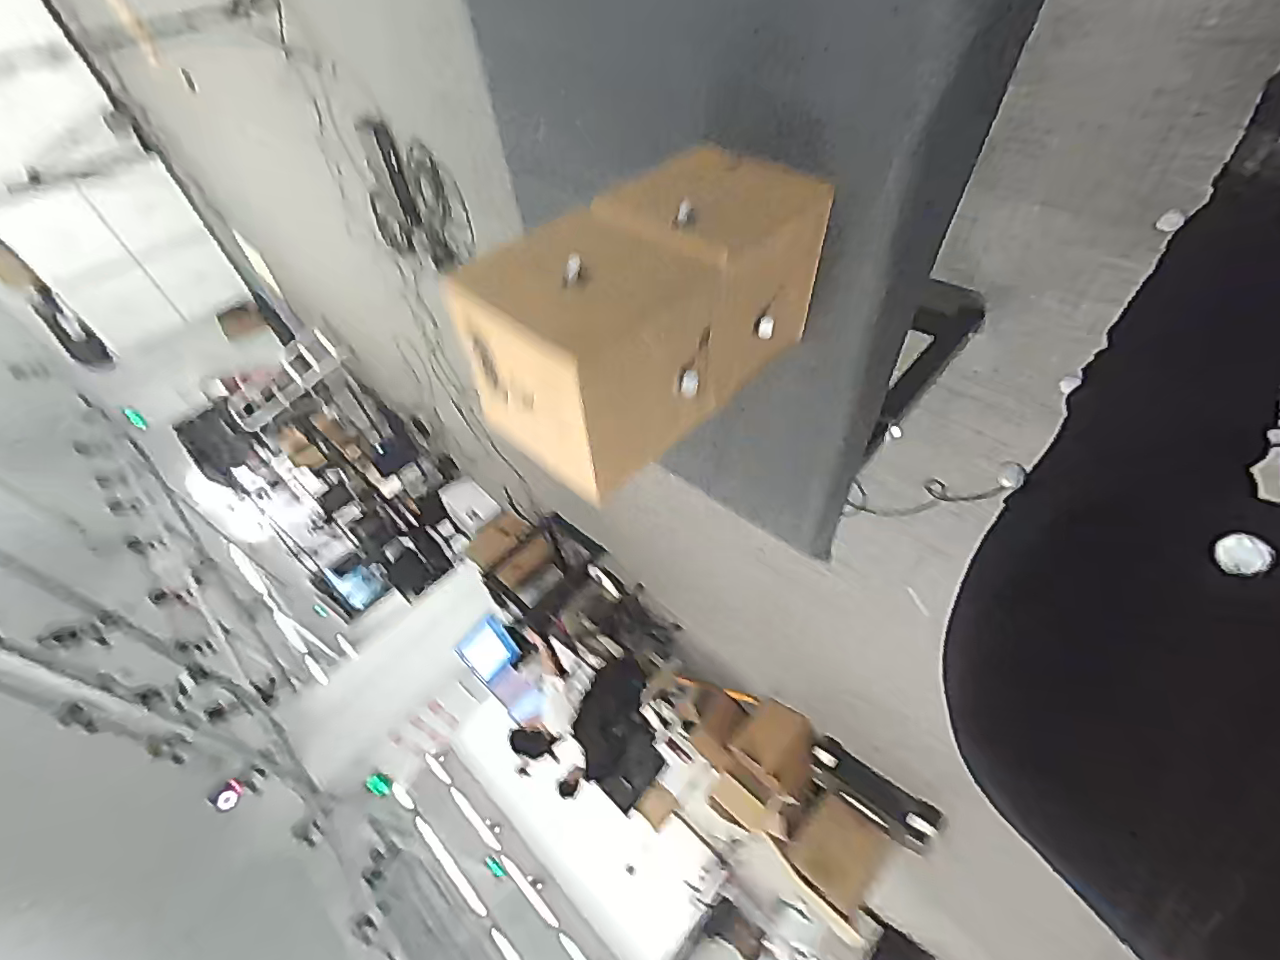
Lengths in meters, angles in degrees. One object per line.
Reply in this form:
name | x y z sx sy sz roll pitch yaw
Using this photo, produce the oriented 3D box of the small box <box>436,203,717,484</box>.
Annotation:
small box | -0.052 -0.136 0.510 0.179 0.176 0.168 36 151 26
